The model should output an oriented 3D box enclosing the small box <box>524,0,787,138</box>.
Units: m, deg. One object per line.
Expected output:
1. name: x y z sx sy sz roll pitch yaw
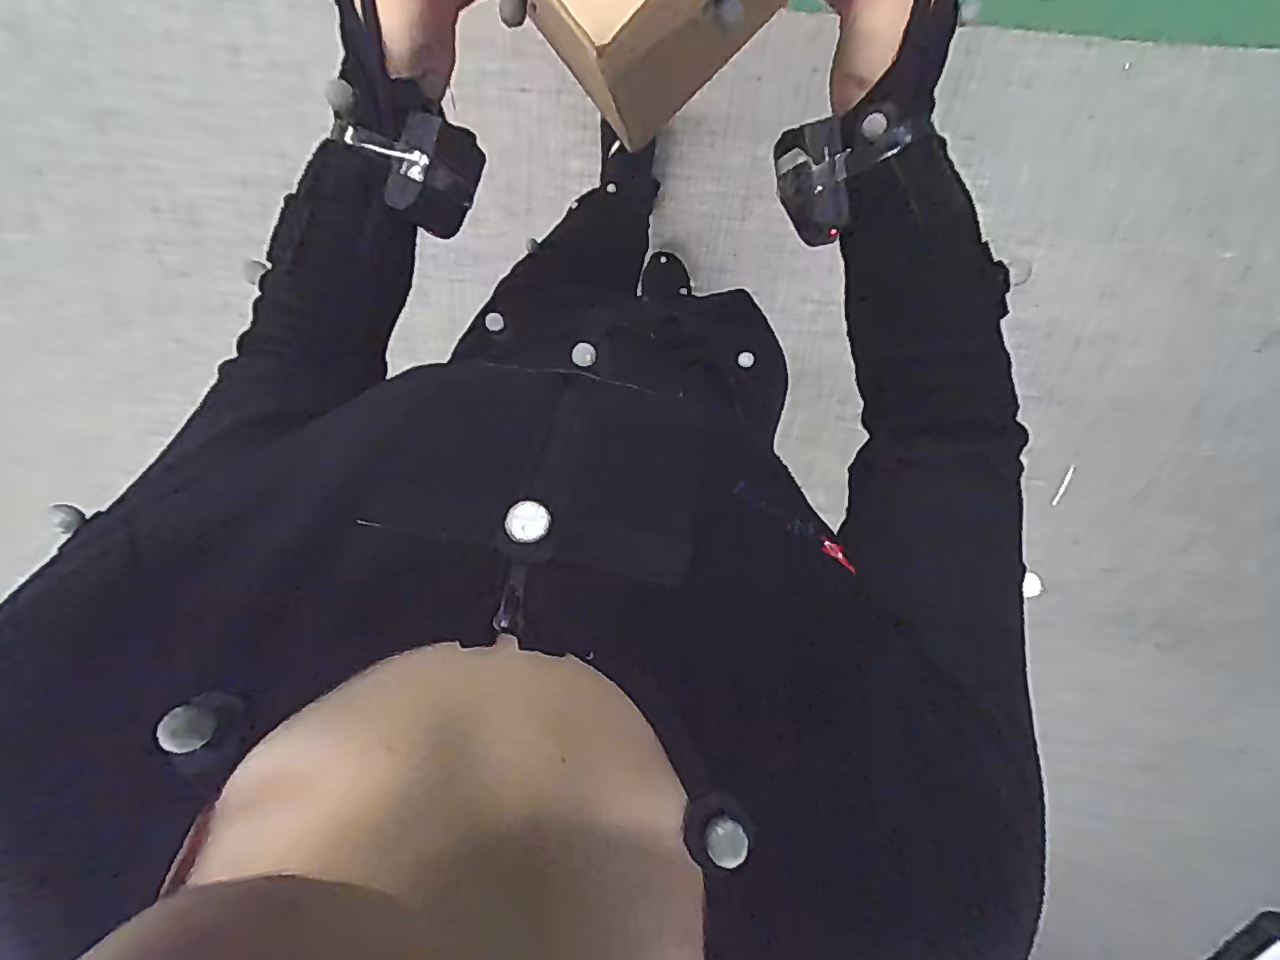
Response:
1. small box: 0.002 -0.322 0.278 0.179 0.176 0.168 -38 101 17
